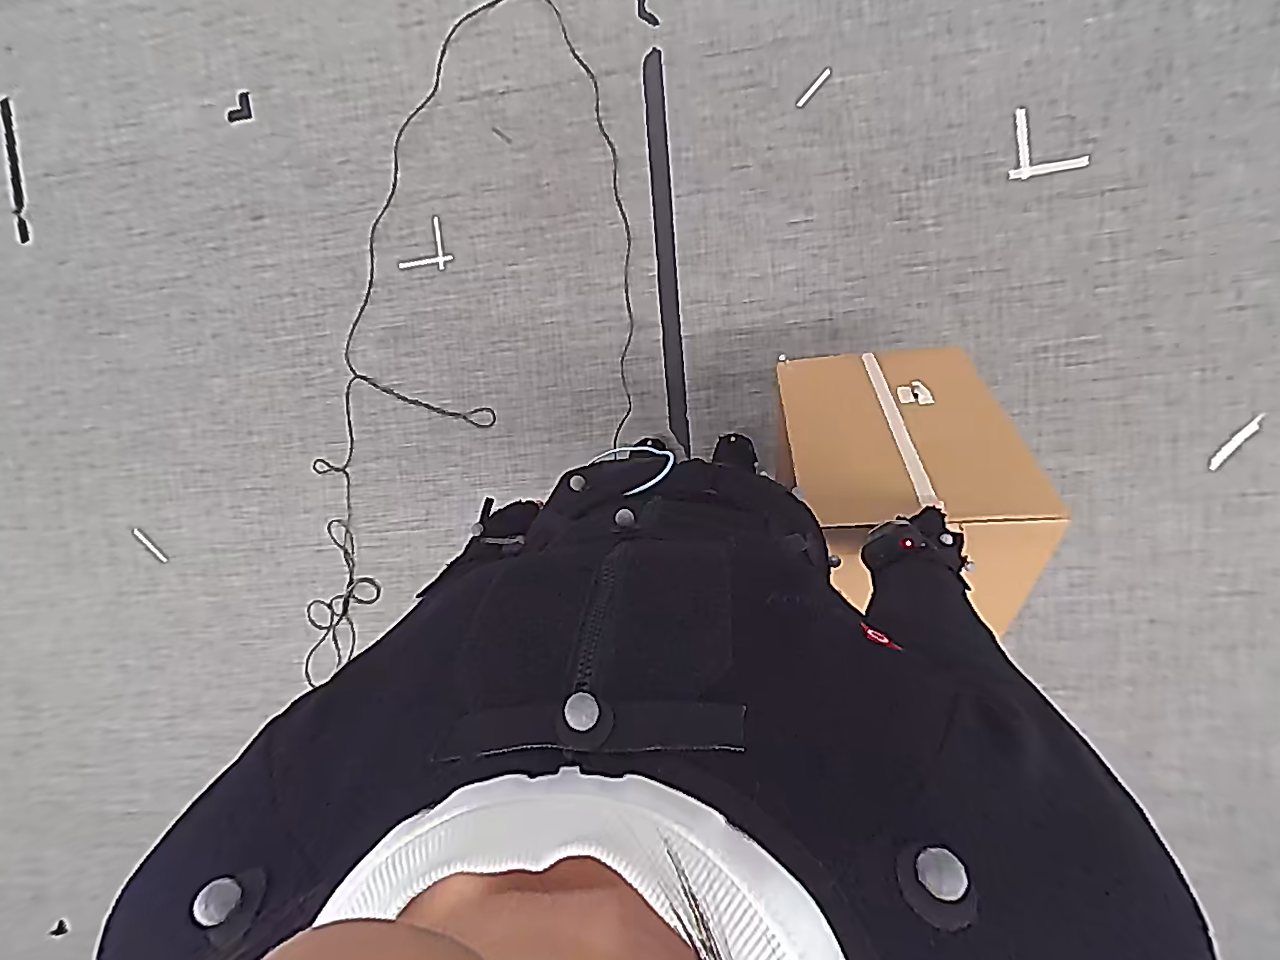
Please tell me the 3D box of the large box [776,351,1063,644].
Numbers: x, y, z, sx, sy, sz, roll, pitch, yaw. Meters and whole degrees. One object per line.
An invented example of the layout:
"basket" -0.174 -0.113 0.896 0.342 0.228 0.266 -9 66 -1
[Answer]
"large box" 0.415 0.026 0.934 0.320 0.408 0.320 -3 133 9
